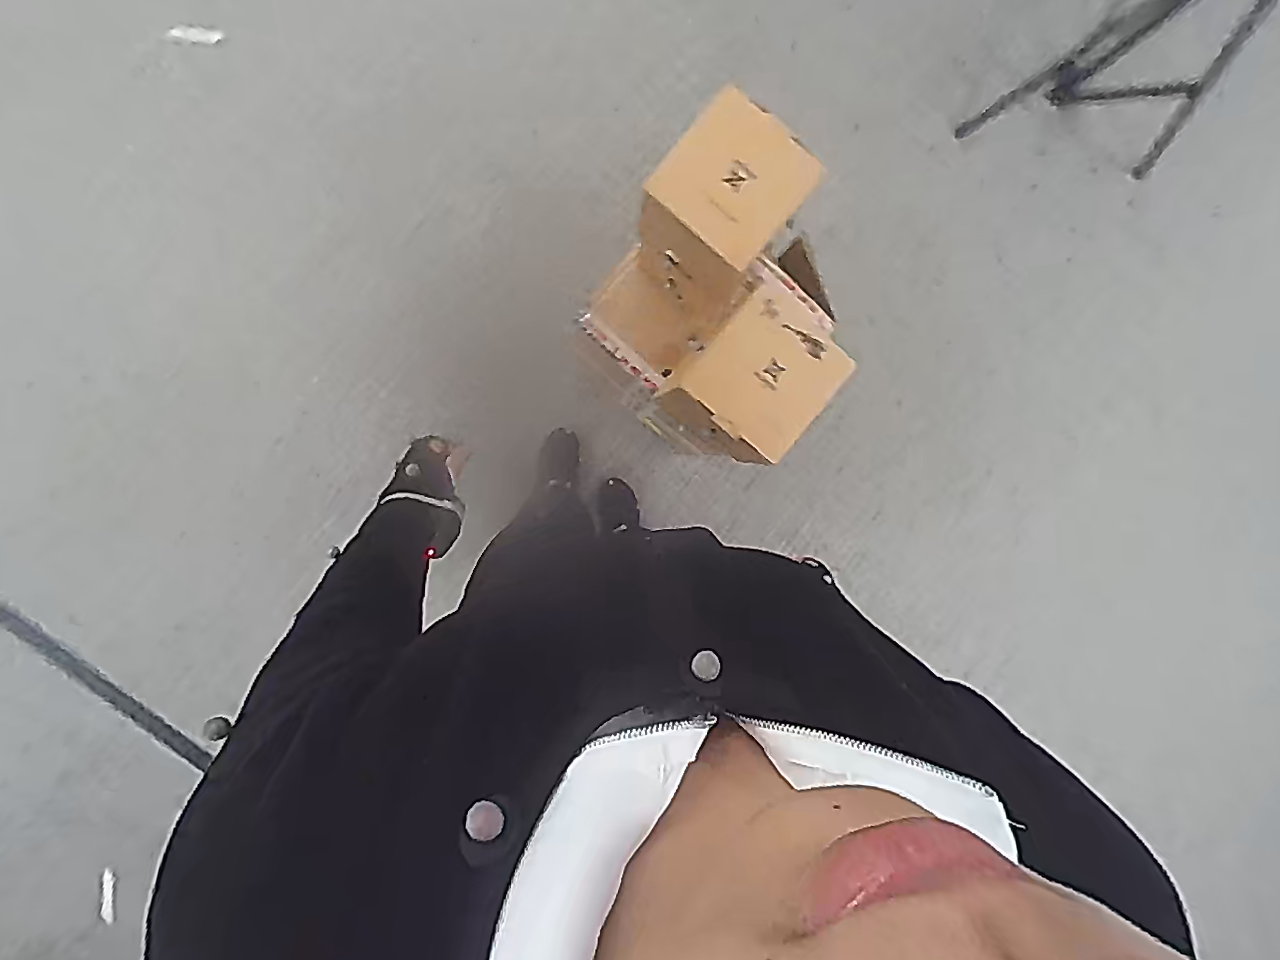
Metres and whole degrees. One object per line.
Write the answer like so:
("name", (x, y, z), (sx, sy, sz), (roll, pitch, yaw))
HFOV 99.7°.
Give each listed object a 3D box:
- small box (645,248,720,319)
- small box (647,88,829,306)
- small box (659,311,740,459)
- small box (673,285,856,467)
("small box", (0.121, -0.406, 0.921), (0.168, 0.176, 0.179), (40, 90, -4))
("small box", (0.121, -0.378, 0.759), (0.168, 0.176, 0.179), (40, 91, -4))
("small box", (0.148, -0.157, 0.937), (0.168, 0.176, 0.179), (39, 91, -6))
("small box", (0.162, -0.138, 0.774), (0.168, 0.176, 0.179), (40, 91, -6))
